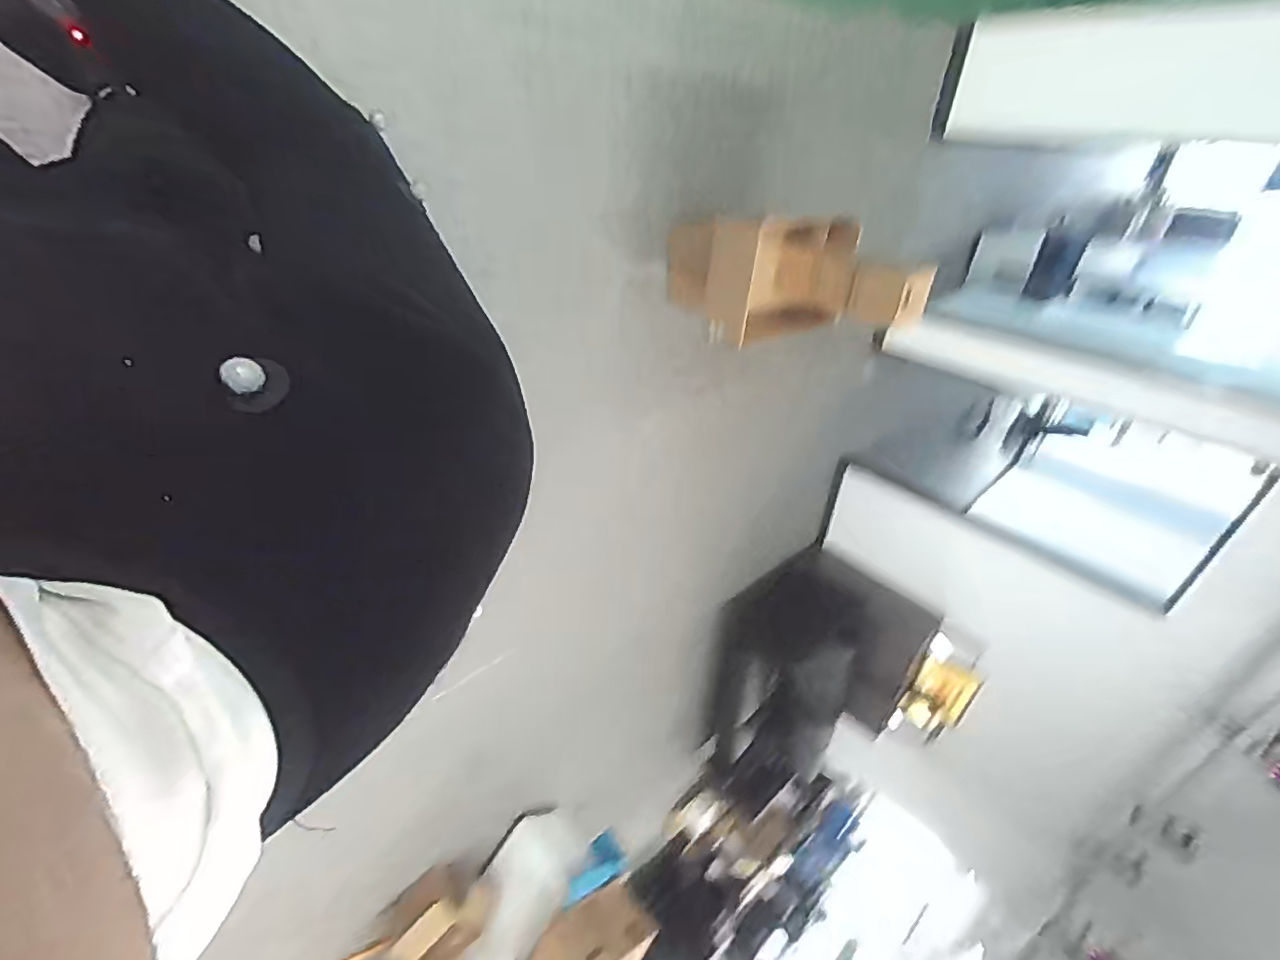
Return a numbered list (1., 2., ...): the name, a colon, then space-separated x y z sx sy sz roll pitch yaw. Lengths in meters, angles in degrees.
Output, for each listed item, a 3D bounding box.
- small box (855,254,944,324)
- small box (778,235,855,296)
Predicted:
1. small box: 0.809 -0.606 1.704 0.179 0.176 0.168 -23 132 -32
2. small box: 0.625 -0.767 1.924 0.179 0.176 0.168 -21 131 -32
